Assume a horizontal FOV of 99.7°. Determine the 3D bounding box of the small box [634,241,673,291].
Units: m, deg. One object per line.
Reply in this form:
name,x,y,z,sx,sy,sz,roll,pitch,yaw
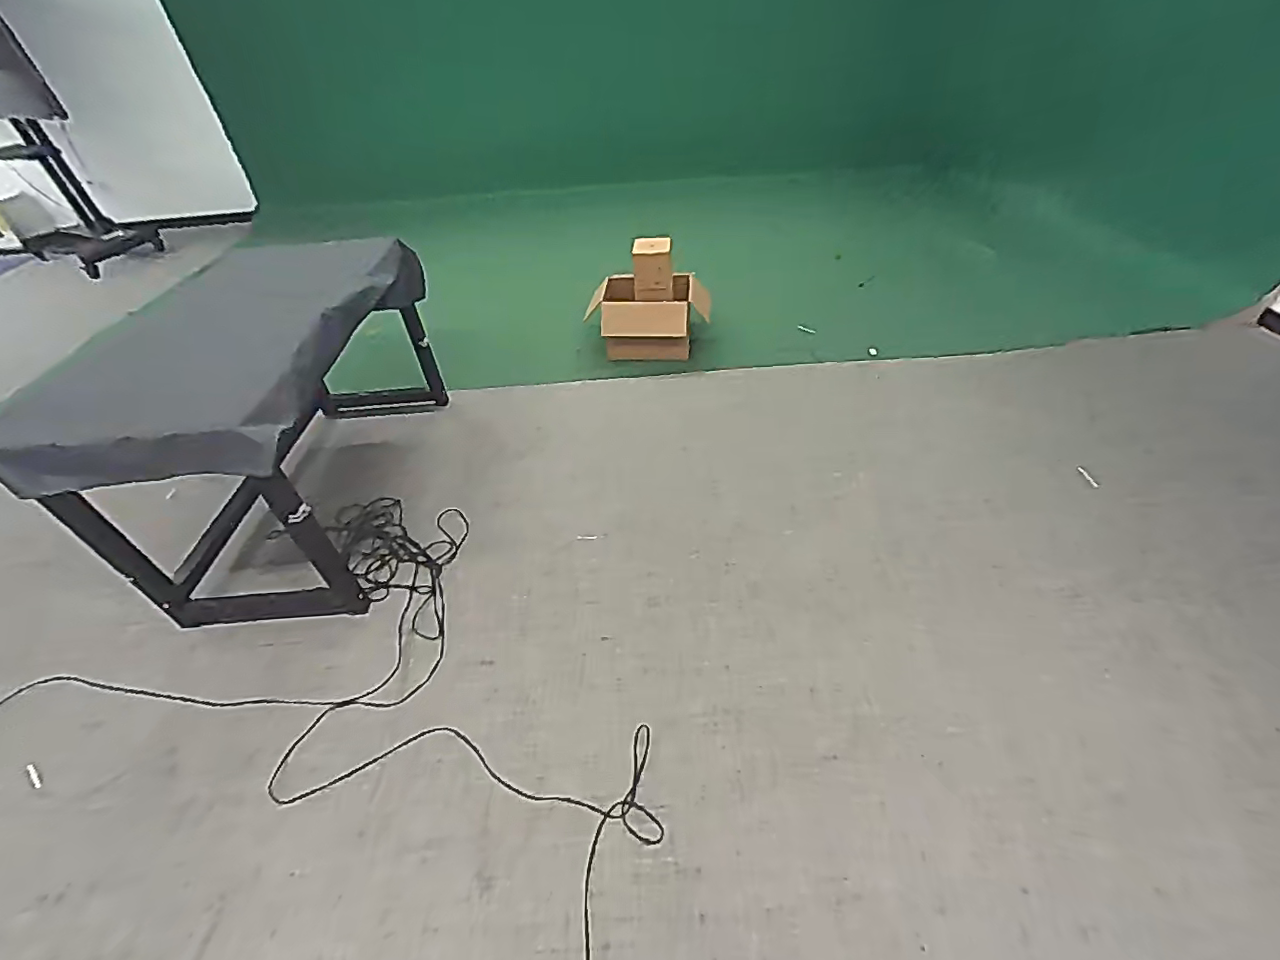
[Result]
small box,0.065,-0.979,2.483,0.168,0.176,0.179,0,42,5
